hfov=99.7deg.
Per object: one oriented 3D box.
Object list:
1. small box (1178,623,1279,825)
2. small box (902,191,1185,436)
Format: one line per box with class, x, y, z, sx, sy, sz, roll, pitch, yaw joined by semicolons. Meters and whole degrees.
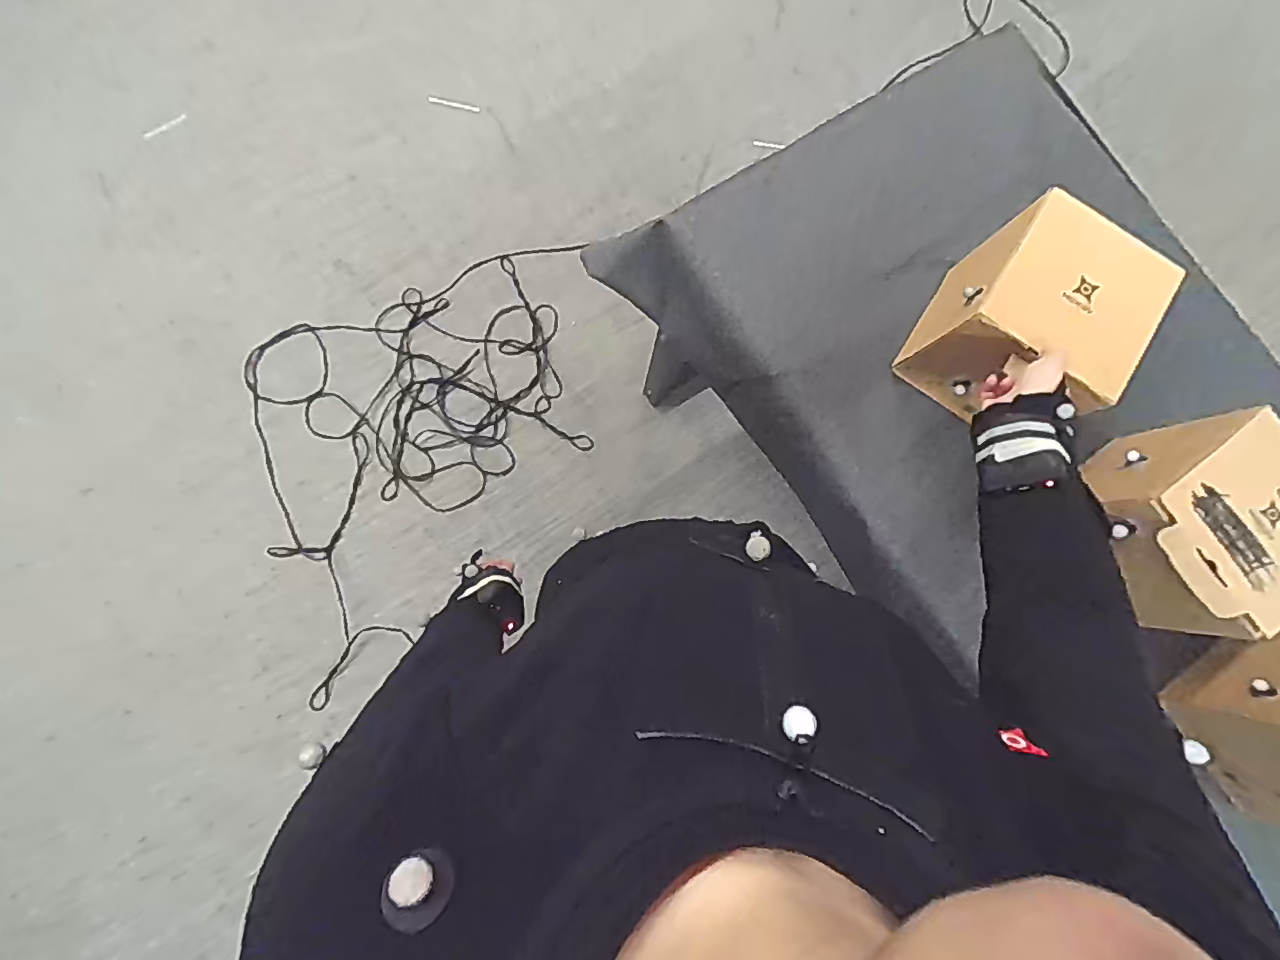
small box;0.752;0.277;0.582;0.179;0.176;0.168;-34;87;-9
small box;0.444;-0.175;0.624;0.168;0.176;0.179;34;82;0
